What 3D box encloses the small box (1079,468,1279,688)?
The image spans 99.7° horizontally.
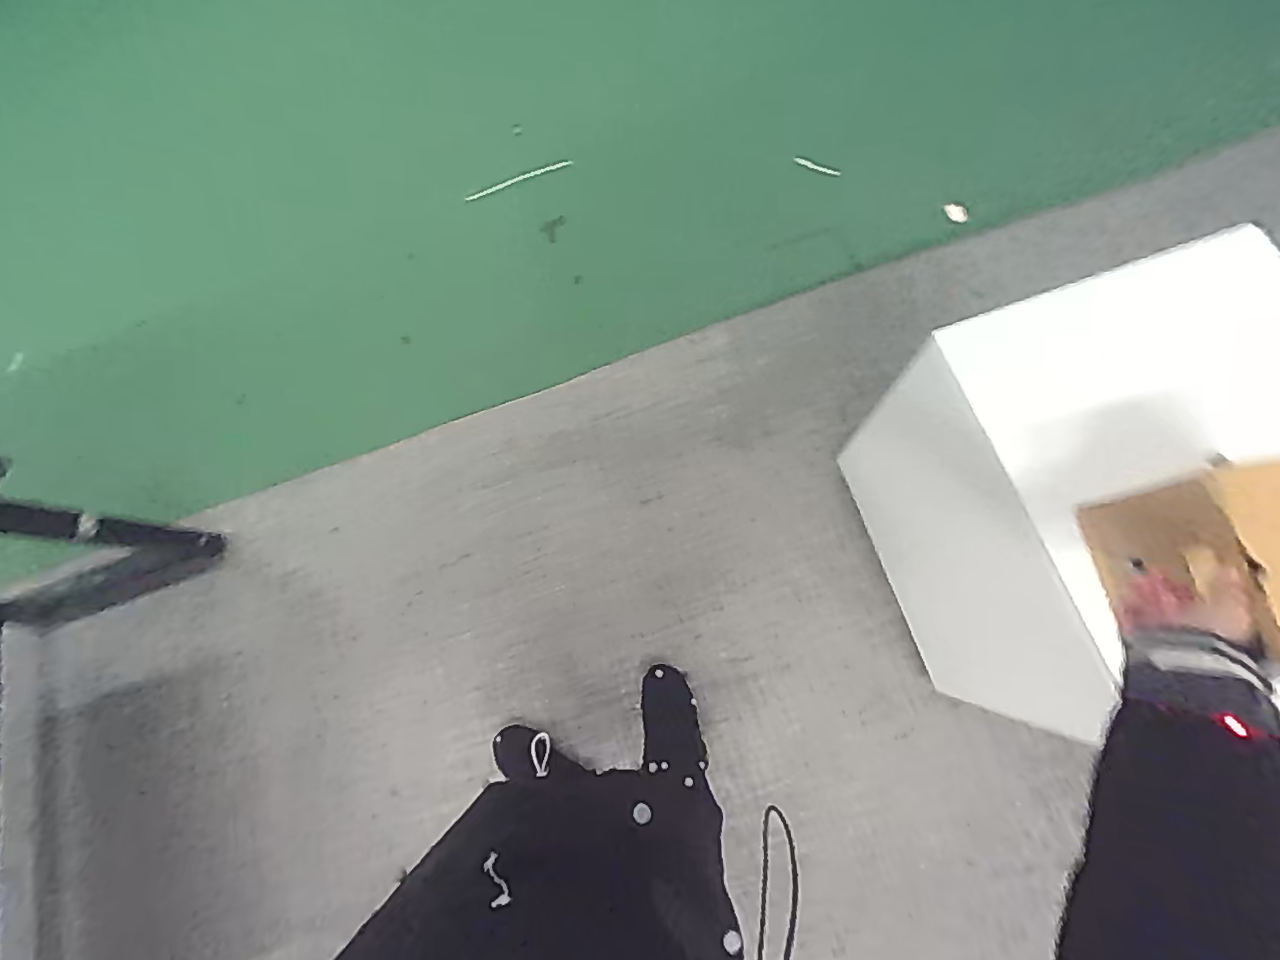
[{"bbox_3d":[0.562,0.080,0.487,0.179,0.176,0.168,-11,75,5],"label":"small box"}]
